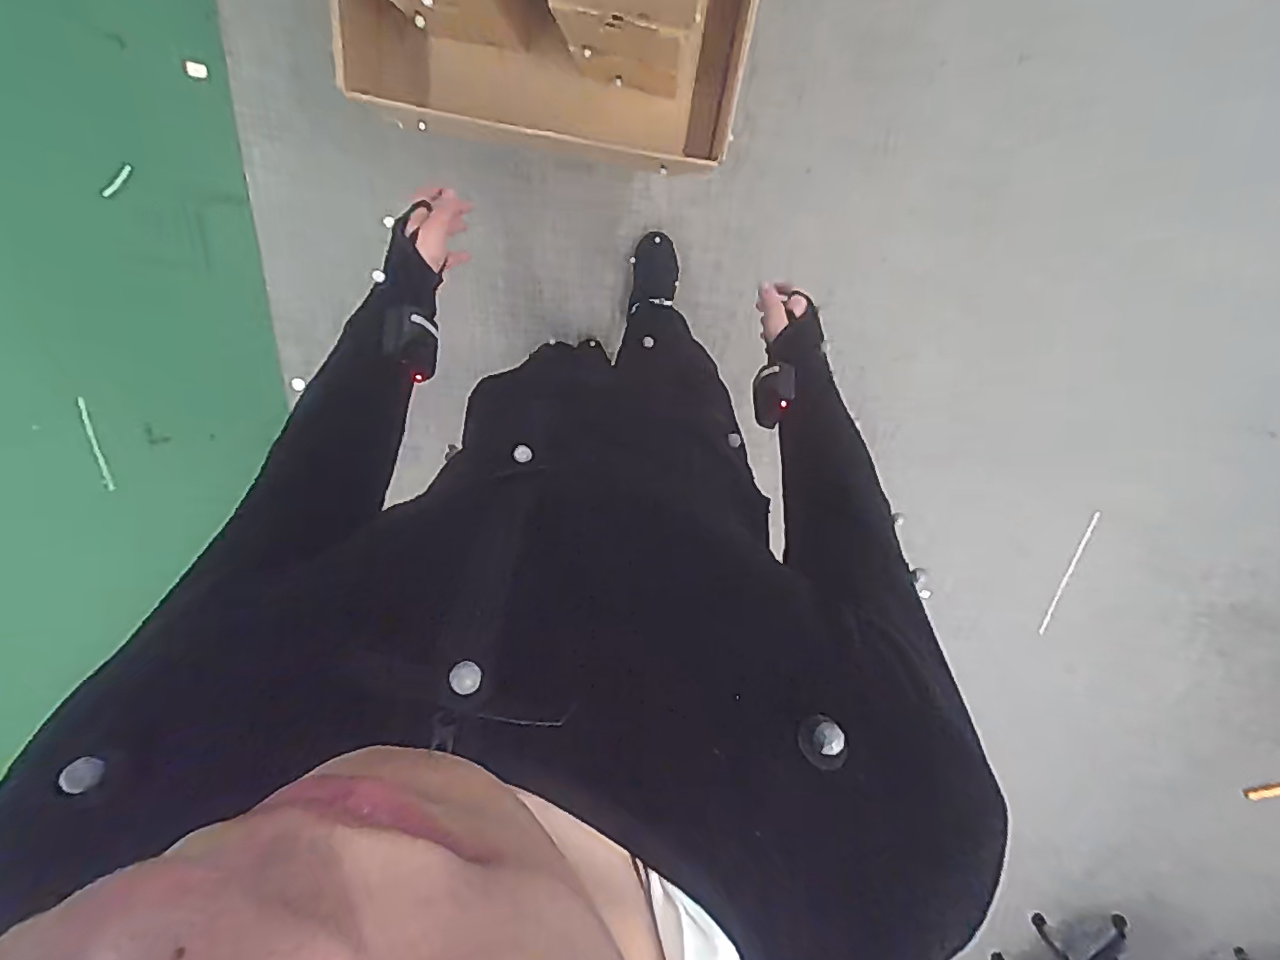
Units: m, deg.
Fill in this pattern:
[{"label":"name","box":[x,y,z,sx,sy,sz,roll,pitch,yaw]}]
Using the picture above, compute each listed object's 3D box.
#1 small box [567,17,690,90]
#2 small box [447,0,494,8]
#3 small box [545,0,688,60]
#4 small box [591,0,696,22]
[{"label":"small box","box":[-0.007,-0.719,0.807,0.168,0.176,0.179,10,116,-3]},{"label":"small box","box":[-0.269,-0.710,0.637,0.168,0.176,0.179,9,115,-1]},{"label":"small box","box":[-0.012,-0.649,0.658,0.168,0.176,0.179,11,115,-3]},{"label":"small box","box":[-0.006,-0.582,0.508,0.168,0.176,0.179,11,115,-3]}]
